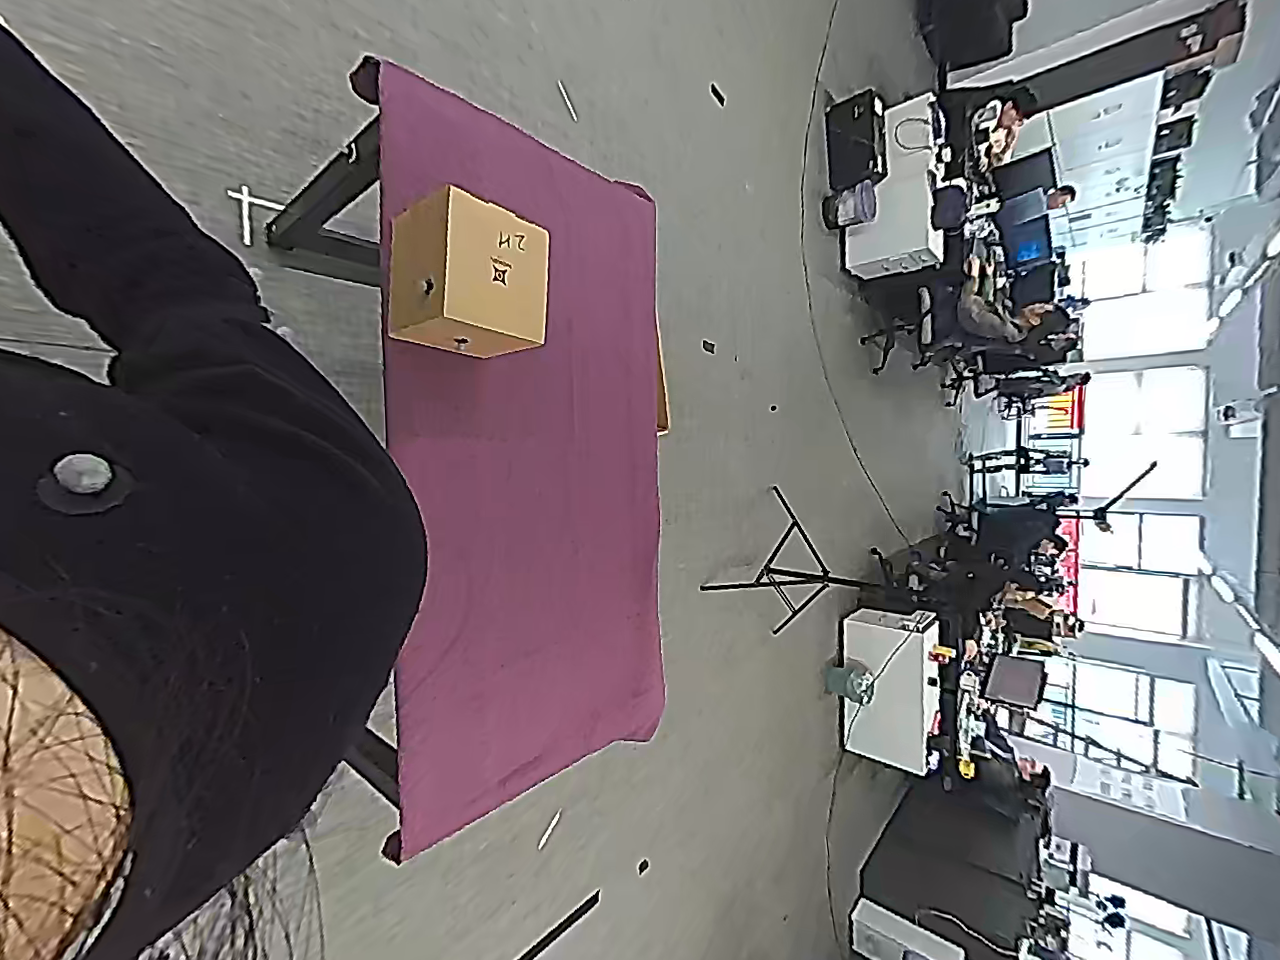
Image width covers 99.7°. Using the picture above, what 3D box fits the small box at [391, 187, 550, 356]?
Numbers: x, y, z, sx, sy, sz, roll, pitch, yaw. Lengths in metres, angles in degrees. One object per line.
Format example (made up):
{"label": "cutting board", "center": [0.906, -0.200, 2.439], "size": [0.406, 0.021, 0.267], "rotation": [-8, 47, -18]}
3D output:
{"label": "small box", "center": [-0.255, -0.293, 0.809], "size": [0.168, 0.176, 0.179], "rotation": [3, 88, -49]}
